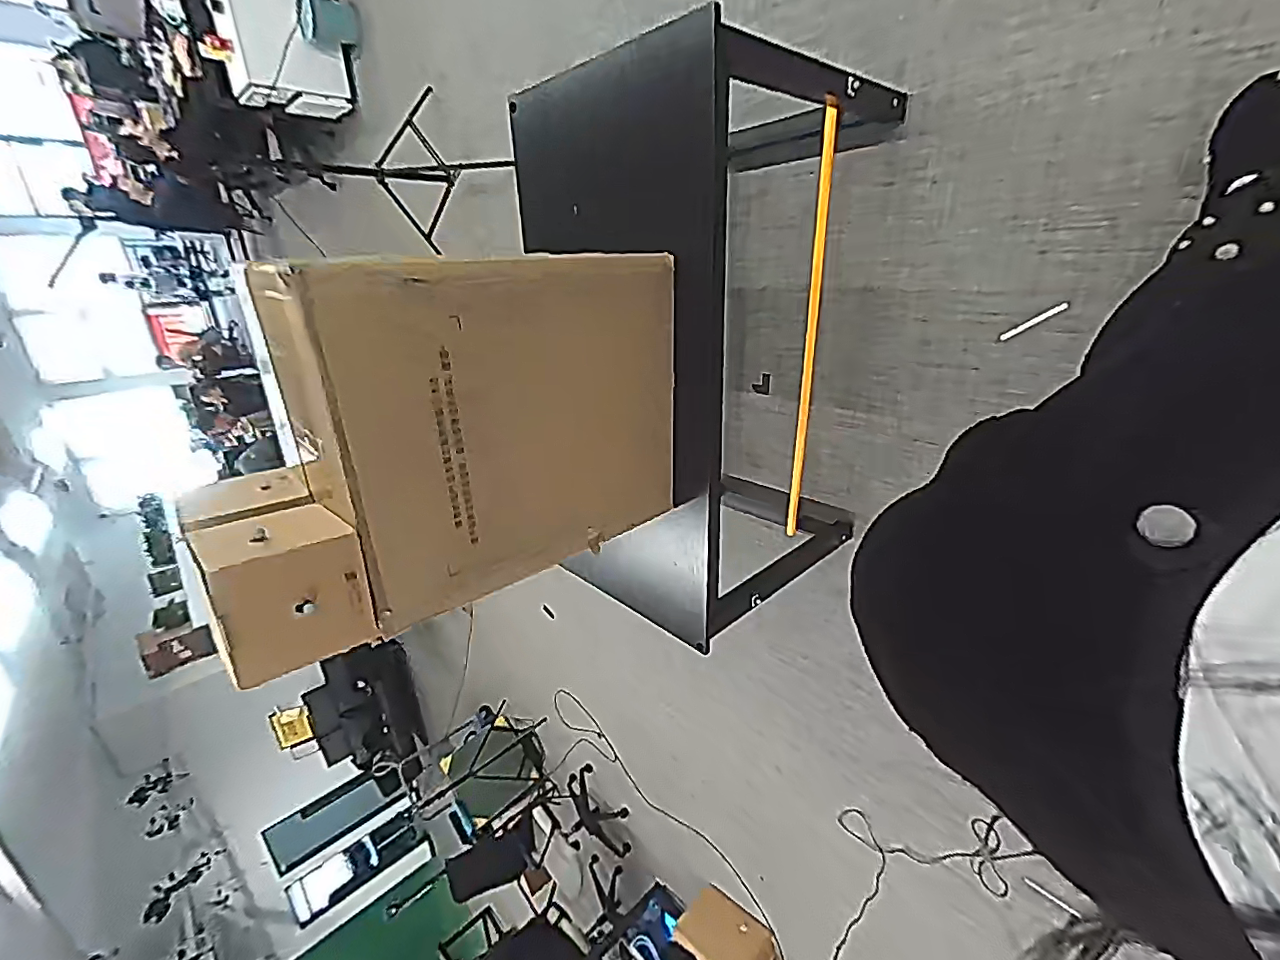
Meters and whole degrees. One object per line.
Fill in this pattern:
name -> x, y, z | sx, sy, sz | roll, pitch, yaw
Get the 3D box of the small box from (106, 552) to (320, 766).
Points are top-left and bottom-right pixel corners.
small box -> -0.528, 0.207, 0.684 | 0.179, 0.176, 0.168 | 13, 113, 42

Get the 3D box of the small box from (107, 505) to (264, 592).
small box -> -0.669, 0.161, 0.828 | 0.168, 0.176, 0.179 | 23, 122, 44
